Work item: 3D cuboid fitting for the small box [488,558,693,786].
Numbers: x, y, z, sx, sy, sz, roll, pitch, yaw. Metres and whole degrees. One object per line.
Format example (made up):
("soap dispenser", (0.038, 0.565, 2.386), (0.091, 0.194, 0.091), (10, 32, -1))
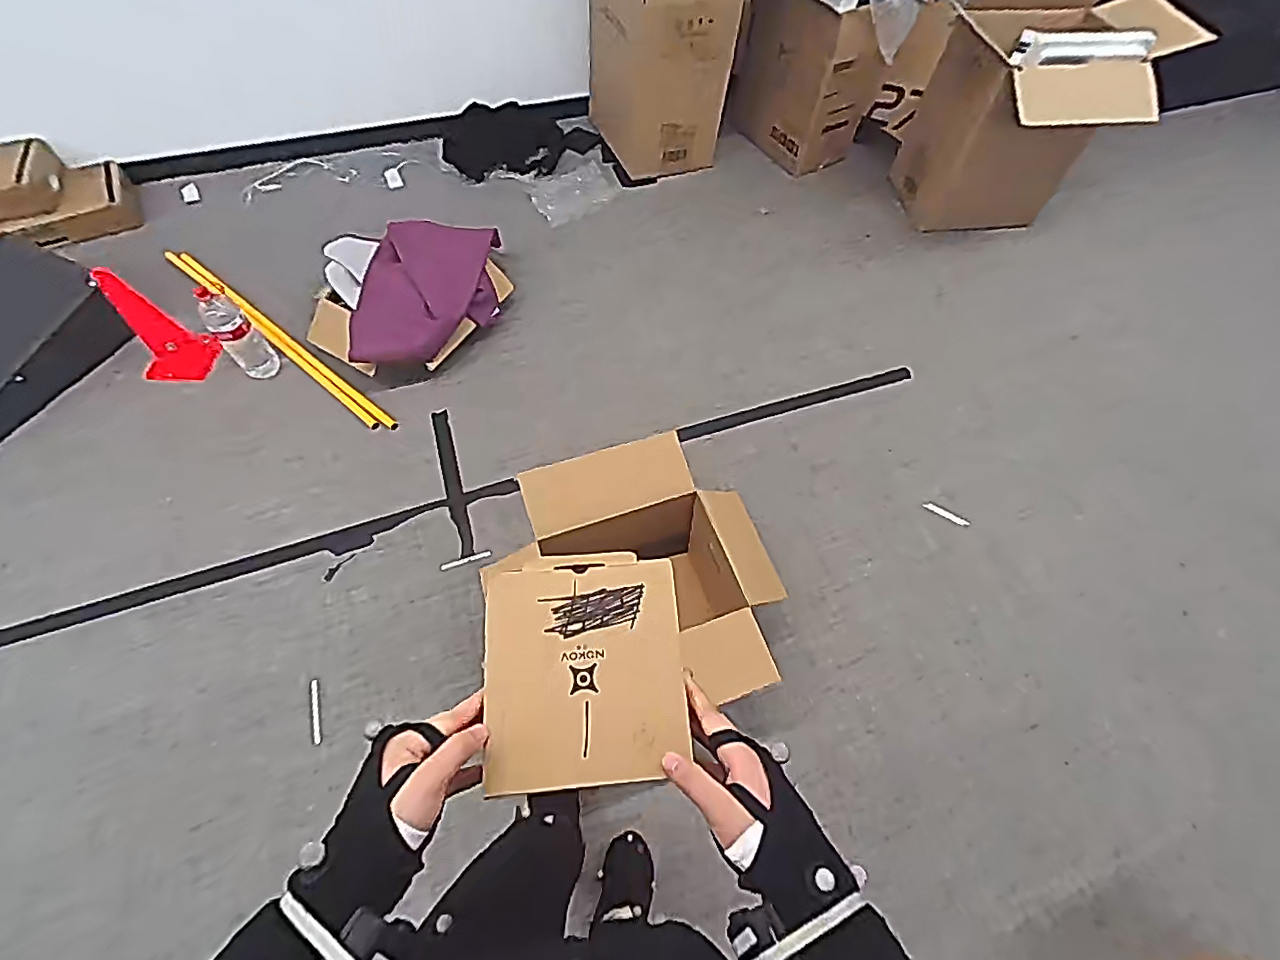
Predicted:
("small box", (-0.047, 0.188, 0.533), (0.168, 0.176, 0.179), (-4, 67, -3))
